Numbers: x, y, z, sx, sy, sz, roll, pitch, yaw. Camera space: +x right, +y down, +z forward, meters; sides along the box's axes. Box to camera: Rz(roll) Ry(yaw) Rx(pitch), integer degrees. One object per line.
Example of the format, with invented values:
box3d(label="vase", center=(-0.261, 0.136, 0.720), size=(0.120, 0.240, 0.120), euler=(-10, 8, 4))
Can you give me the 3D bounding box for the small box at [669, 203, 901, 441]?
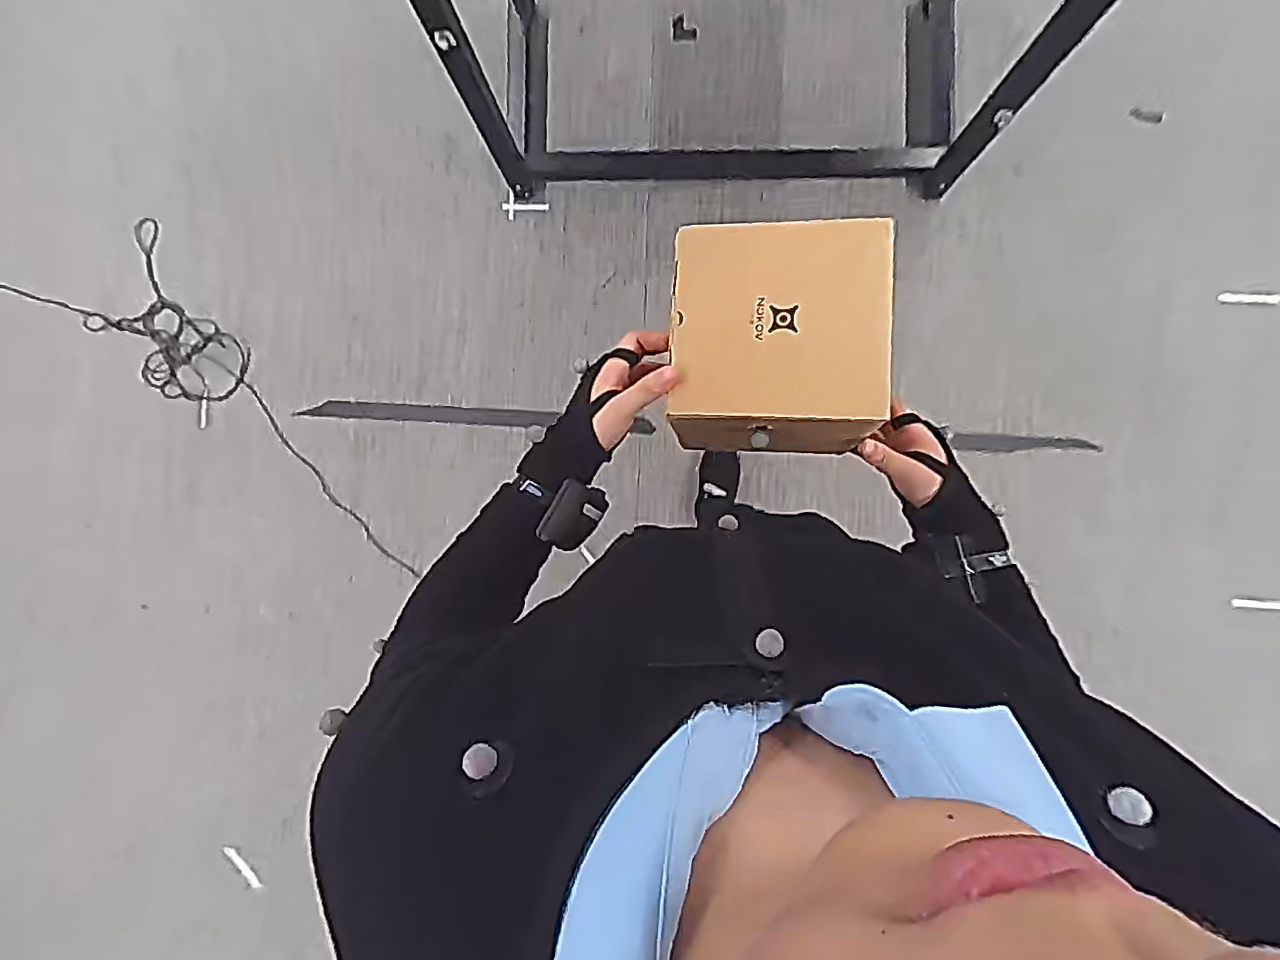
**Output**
box3d(label="small box", center=(0.127, -0.132, 0.508), size=(0.179, 0.176, 0.168), euler=(2, 84, 11))
